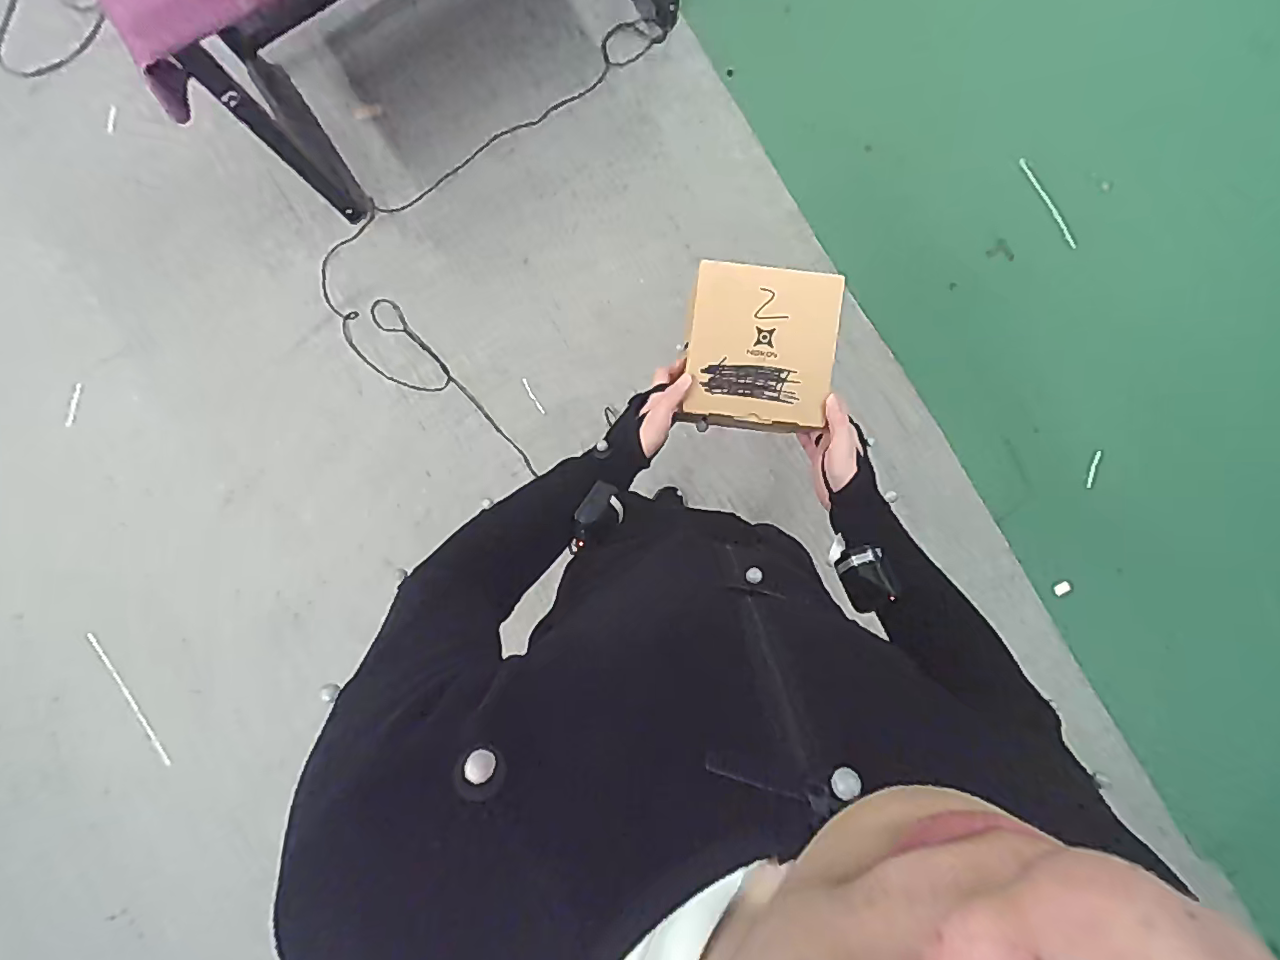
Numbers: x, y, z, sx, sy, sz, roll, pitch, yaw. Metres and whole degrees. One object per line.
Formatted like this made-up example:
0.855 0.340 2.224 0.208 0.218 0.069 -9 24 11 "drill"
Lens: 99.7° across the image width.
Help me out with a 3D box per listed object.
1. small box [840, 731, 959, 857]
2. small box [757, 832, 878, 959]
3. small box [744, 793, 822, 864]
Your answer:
0.631 0.765 1.337 0.168 0.176 0.179 -33 90 -1 "small box"
0.375 0.920 1.171 0.168 0.176 0.179 -26 88 -1 "small box"
0.377 0.924 1.336 0.168 0.176 0.179 -26 88 0 "small box"
